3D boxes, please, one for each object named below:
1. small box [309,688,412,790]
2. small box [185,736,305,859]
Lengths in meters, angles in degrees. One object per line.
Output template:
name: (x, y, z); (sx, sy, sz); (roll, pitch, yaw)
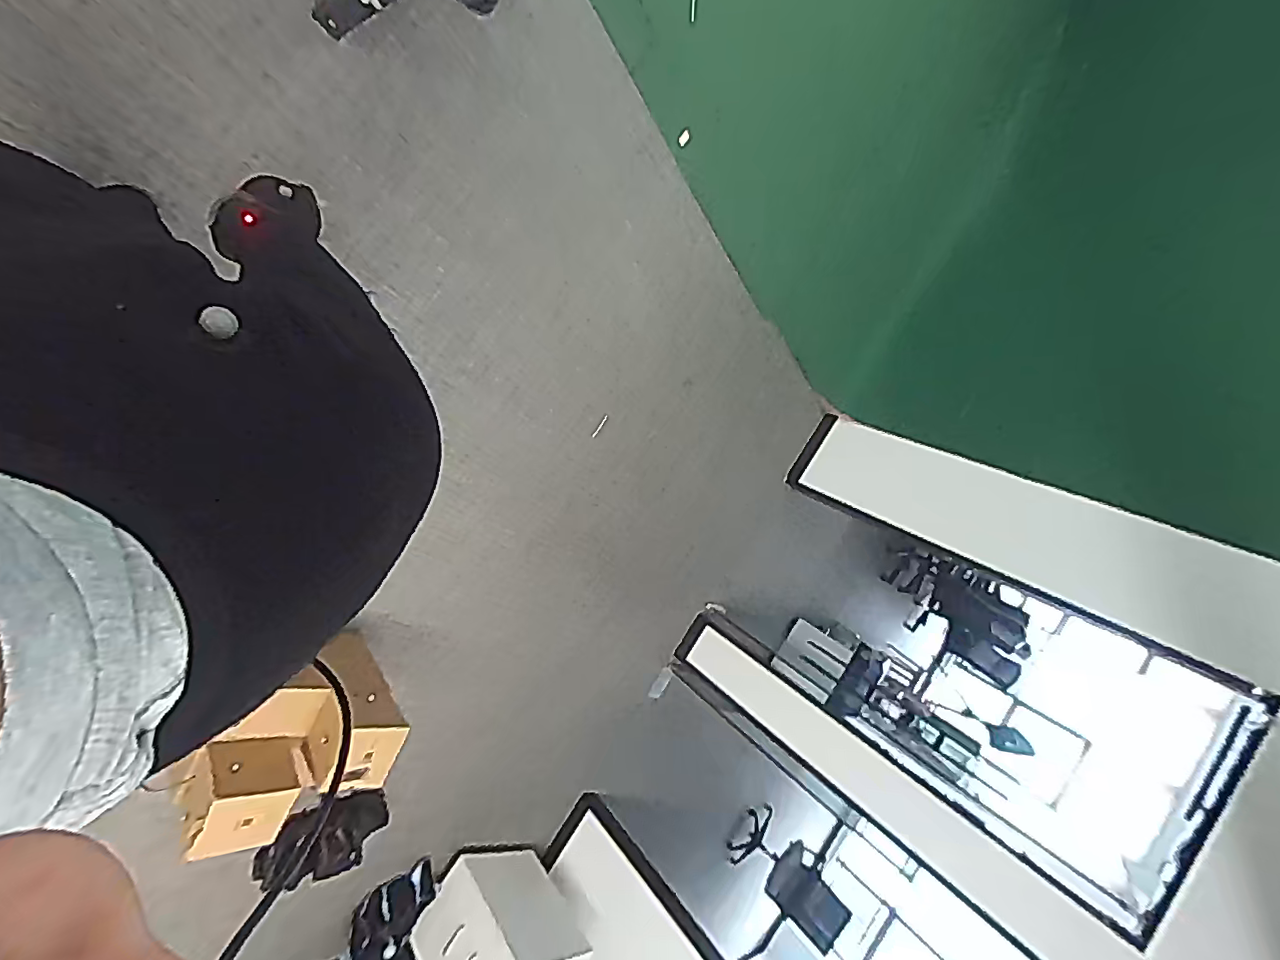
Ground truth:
small box: (-0.743, 0.677, 1.427); (0.168, 0.176, 0.179); (29, 87, -49)
small box: (-0.933, 0.735, 1.273); (0.179, 0.176, 0.168); (22, 99, -50)
